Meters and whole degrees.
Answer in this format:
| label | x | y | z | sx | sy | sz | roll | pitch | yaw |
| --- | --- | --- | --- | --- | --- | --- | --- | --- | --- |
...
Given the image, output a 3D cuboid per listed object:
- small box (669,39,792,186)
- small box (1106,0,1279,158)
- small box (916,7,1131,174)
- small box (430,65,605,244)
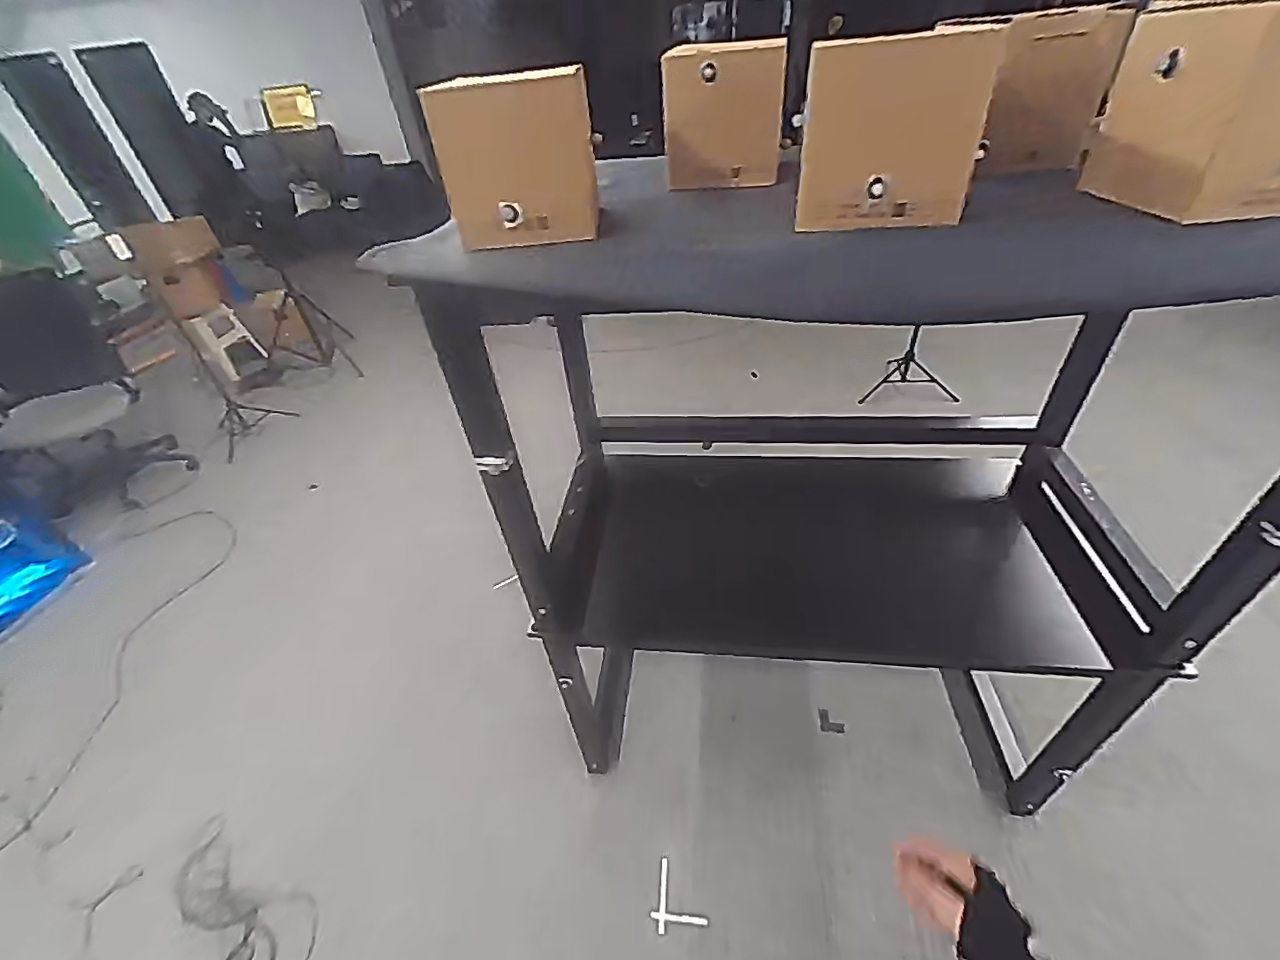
| label | x | y | z | sx | sy | sz | roll | pitch | yaw |
| --- | --- | --- | --- | --- | --- | --- | --- | --- | --- |
| small box | 0.142 | -0.563 | 0.832 | 0.168 | 0.176 | 0.179 | 3 | 40 | 13 |
| small box | 0.795 | -0.548 | 0.727 | 0.168 | 0.176 | 0.179 | -7 | 42 | 1 |
| small box | 0.510 | -0.536 | 0.754 | 0.168 | 0.176 | 0.179 | 0 | 39 | 7 |
| small box | -0.137 | -0.410 | 0.682 | 0.168 | 0.176 | 0.179 | -5 | 39 | 2 |
